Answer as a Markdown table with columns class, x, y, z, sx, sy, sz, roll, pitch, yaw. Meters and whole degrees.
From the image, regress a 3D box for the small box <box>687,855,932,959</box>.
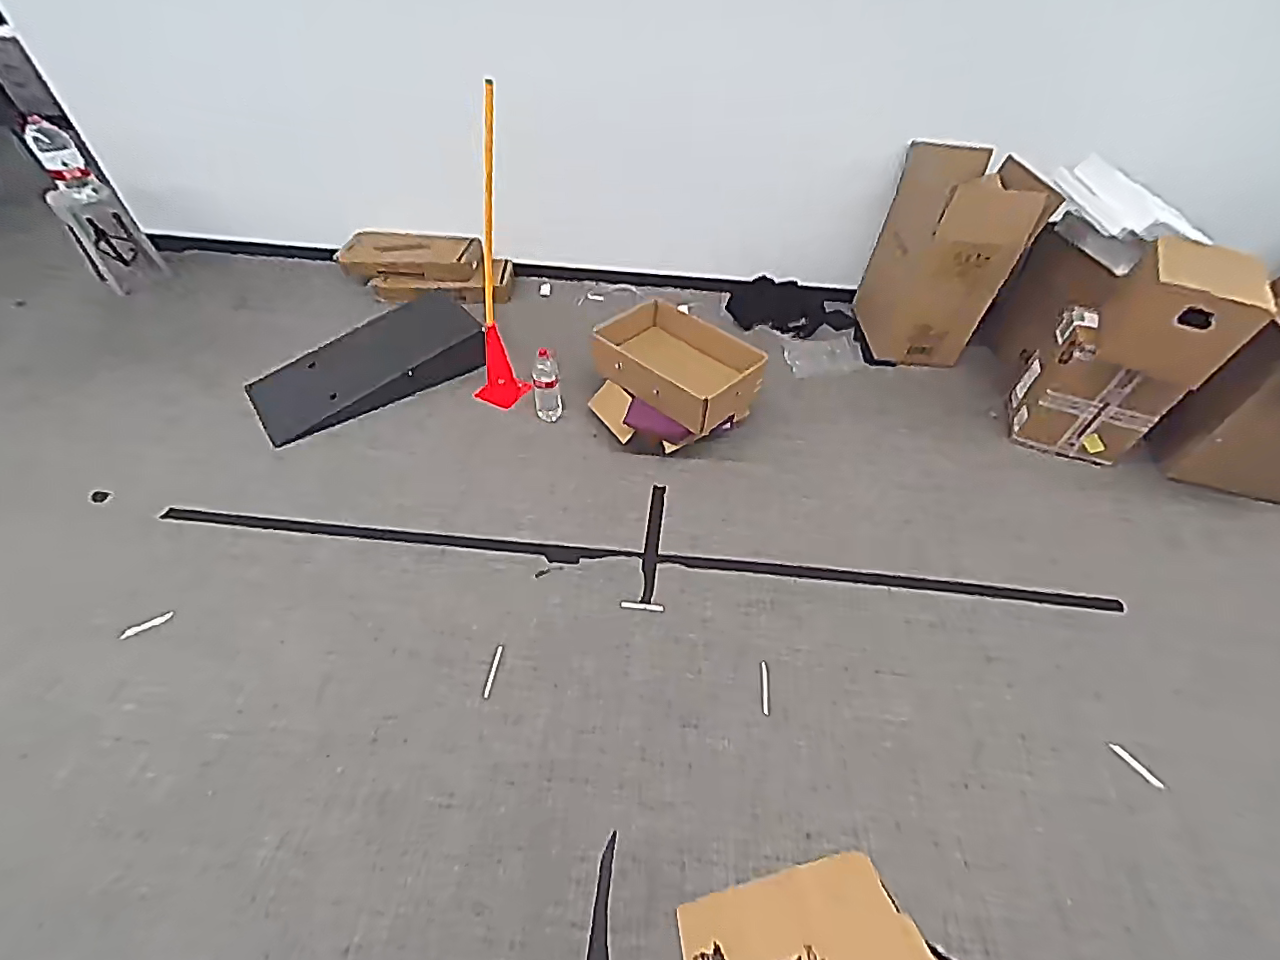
| class | x | y | z | sx | sy | sz | roll | pitch | yaw |
| --- | --- | --- | --- | --- | --- | --- | --- | --- | --- |
| small box | 0.149 | 0.445 | 0.414 | 0.179 | 0.176 | 0.168 | -16 | 7 | -1 |
